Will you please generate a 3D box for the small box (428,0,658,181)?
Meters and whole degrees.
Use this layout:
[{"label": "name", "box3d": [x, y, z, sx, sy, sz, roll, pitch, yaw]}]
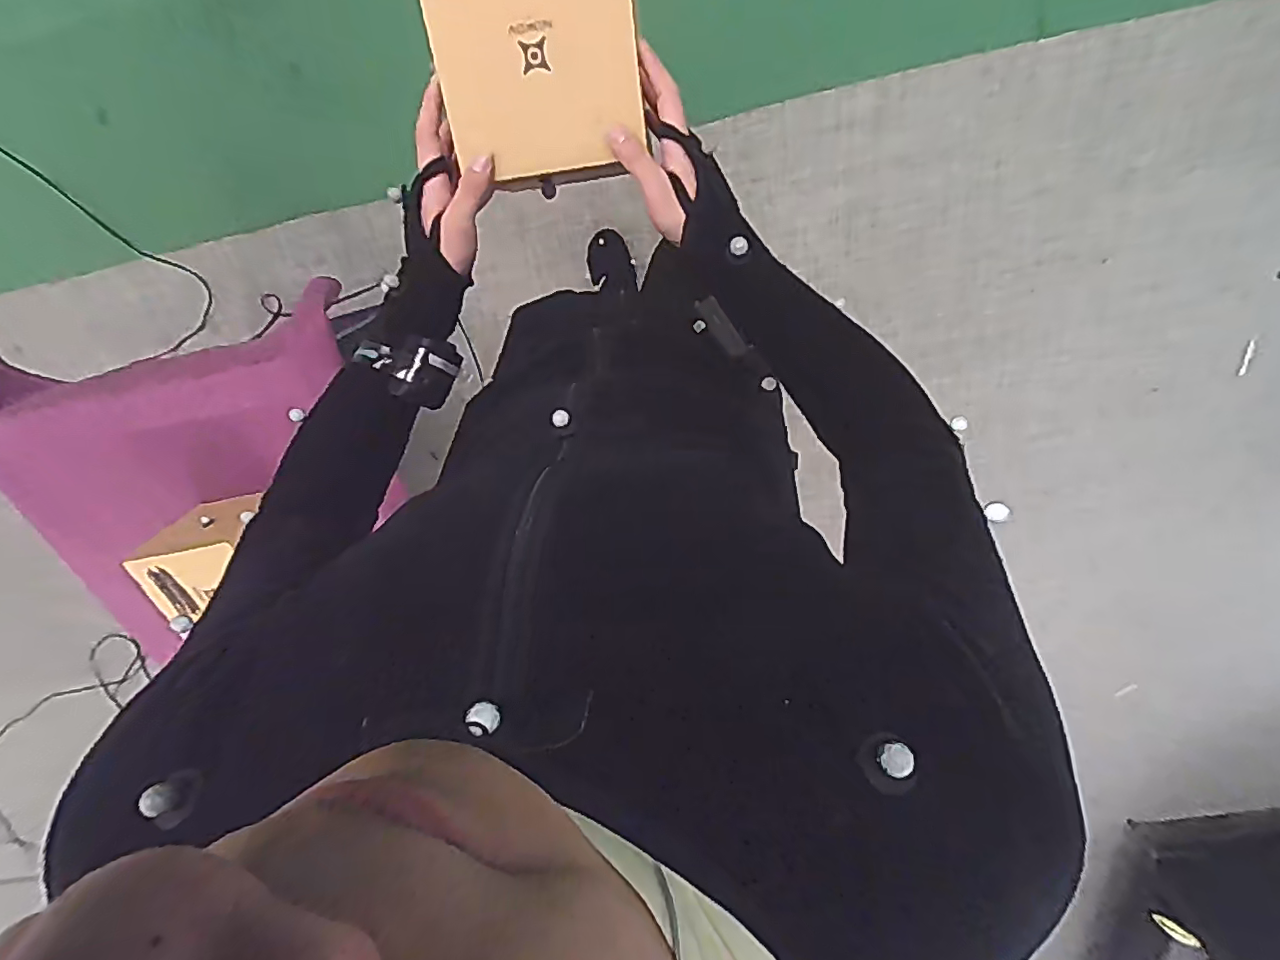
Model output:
[{"label": "small box", "box3d": [-0.074, -0.383, 0.493, 0.168, 0.176, 0.179, -7, 117, 5]}]
